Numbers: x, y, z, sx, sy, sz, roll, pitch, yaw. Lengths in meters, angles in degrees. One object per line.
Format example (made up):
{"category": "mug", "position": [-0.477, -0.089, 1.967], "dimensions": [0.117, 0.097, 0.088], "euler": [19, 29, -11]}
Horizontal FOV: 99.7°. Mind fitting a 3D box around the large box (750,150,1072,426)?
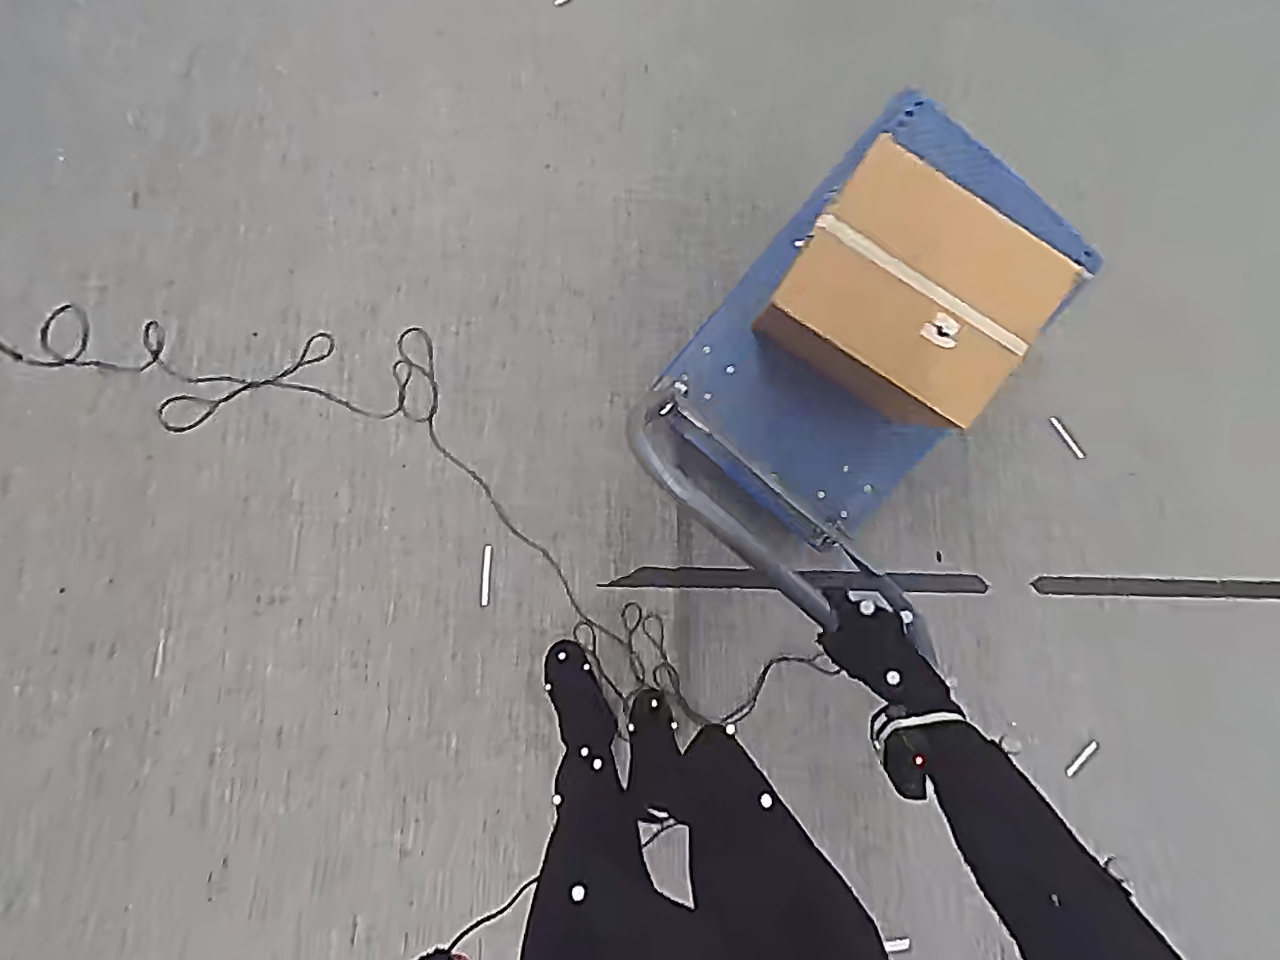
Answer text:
{"category": "large box", "position": [0.481, -0.340, 1.063], "dimensions": [0.408, 0.320, 0.320], "euler": [32, 99, -1]}
